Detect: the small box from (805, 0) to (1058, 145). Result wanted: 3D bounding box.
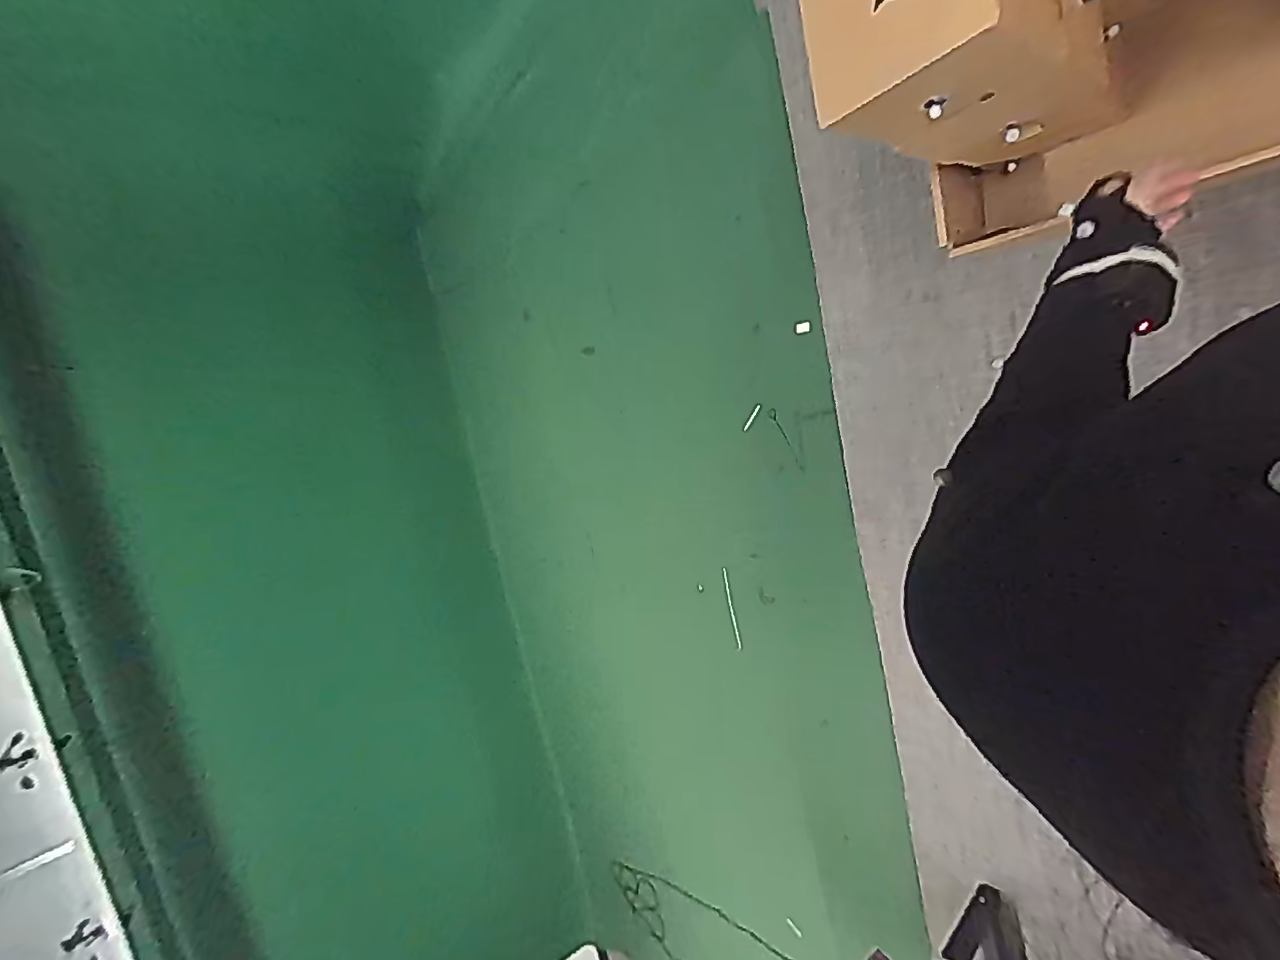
[{"bbox_3d":[0.289,-0.462,0.538,0.168,0.176,0.179,0,103,53],"label":"small box"}]

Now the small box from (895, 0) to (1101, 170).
[{"bbox_3d":[0.415,-0.497,0.639,0.179,0.176,0.168,-4,99,52],"label":"small box"}]
